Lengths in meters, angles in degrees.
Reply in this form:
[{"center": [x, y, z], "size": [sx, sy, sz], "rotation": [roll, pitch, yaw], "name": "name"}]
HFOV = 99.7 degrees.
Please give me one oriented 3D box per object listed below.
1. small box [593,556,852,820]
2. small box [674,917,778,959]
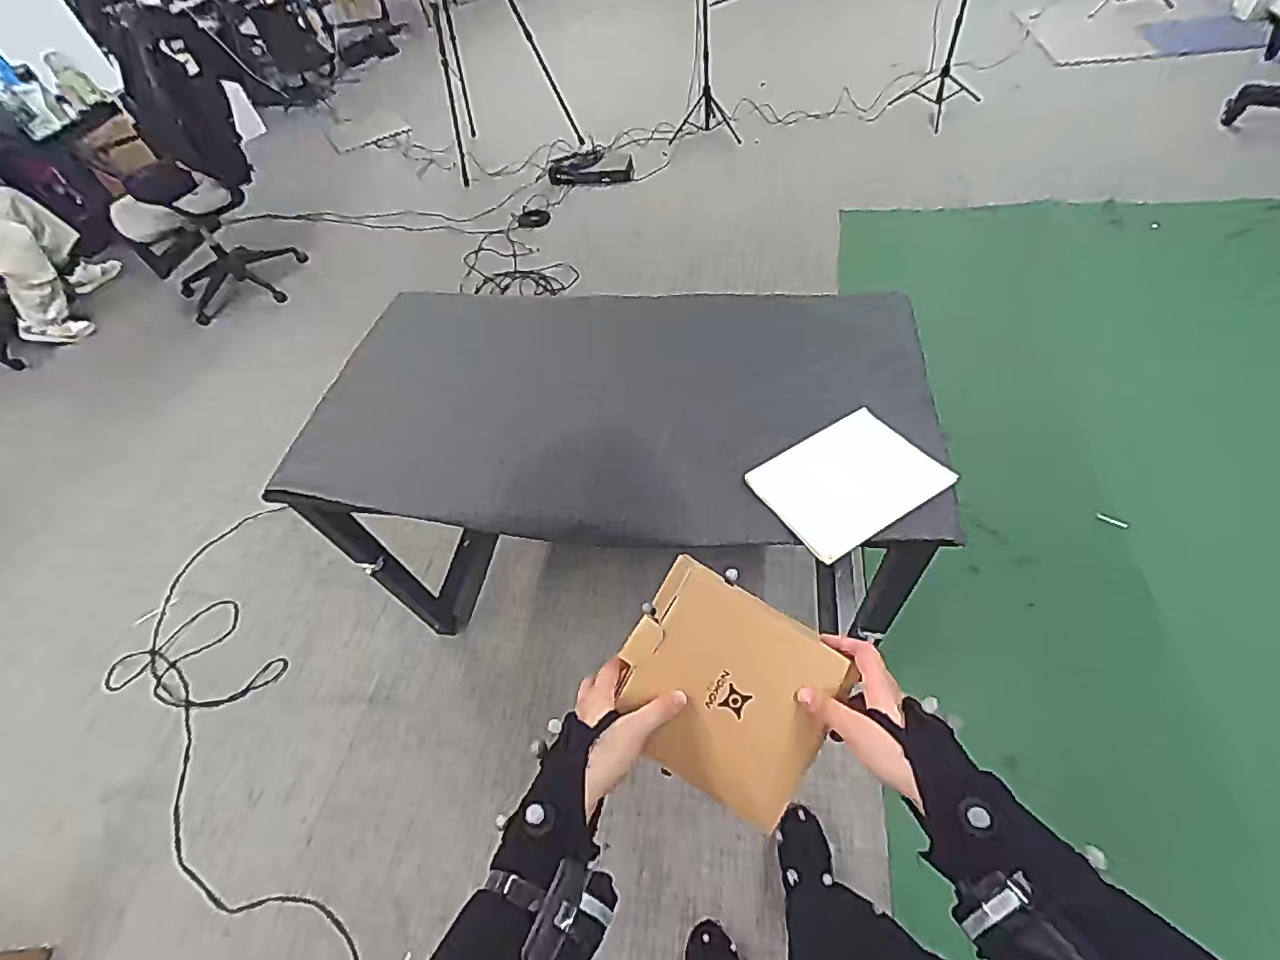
[{"center": [0.075, 0.188, 0.554], "size": [0.179, 0.176, 0.168], "rotation": [30, 87, 4], "name": "small box"}, {"center": [0.164, 0.949, 0.985], "size": [0.176, 0.168, 0.179], "rotation": [43, 42, 2], "name": "small box"}]
